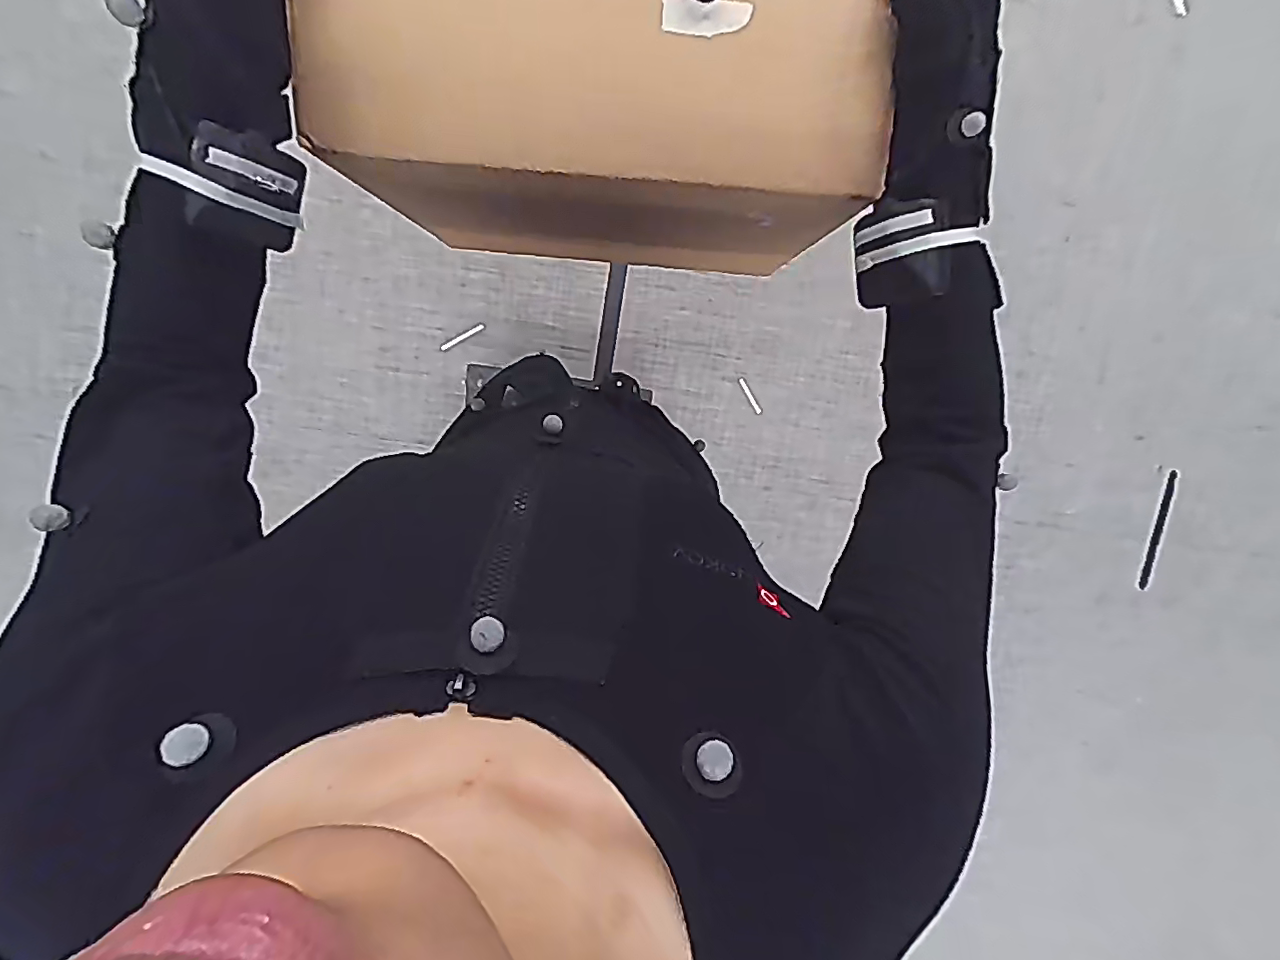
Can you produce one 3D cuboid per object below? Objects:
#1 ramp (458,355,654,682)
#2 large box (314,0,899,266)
[{"bbox_3d":[-0.271,0.166,1.586,0.509,0.206,0.991,6,99,-4],"label":"ramp"},{"bbox_3d":[-0.022,-0.401,0.505,0.408,0.320,0.320,4,102,-3],"label":"large box"}]
